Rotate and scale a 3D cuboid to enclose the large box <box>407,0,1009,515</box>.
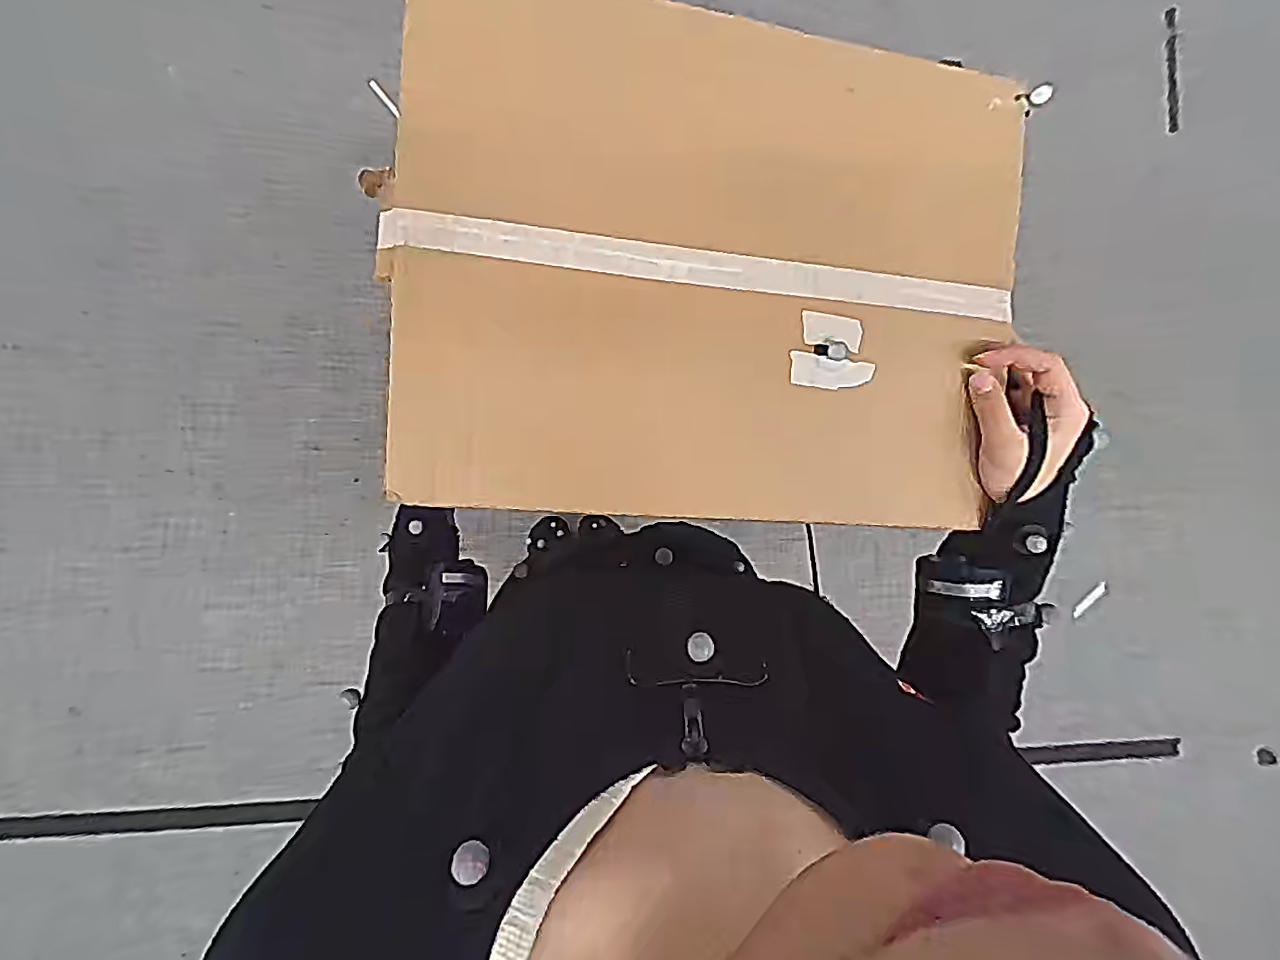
[{"bbox_3d":[0.032,-0.142,0.496,0.408,0.320,0.320,4,93,-12],"label":"large box"}]
